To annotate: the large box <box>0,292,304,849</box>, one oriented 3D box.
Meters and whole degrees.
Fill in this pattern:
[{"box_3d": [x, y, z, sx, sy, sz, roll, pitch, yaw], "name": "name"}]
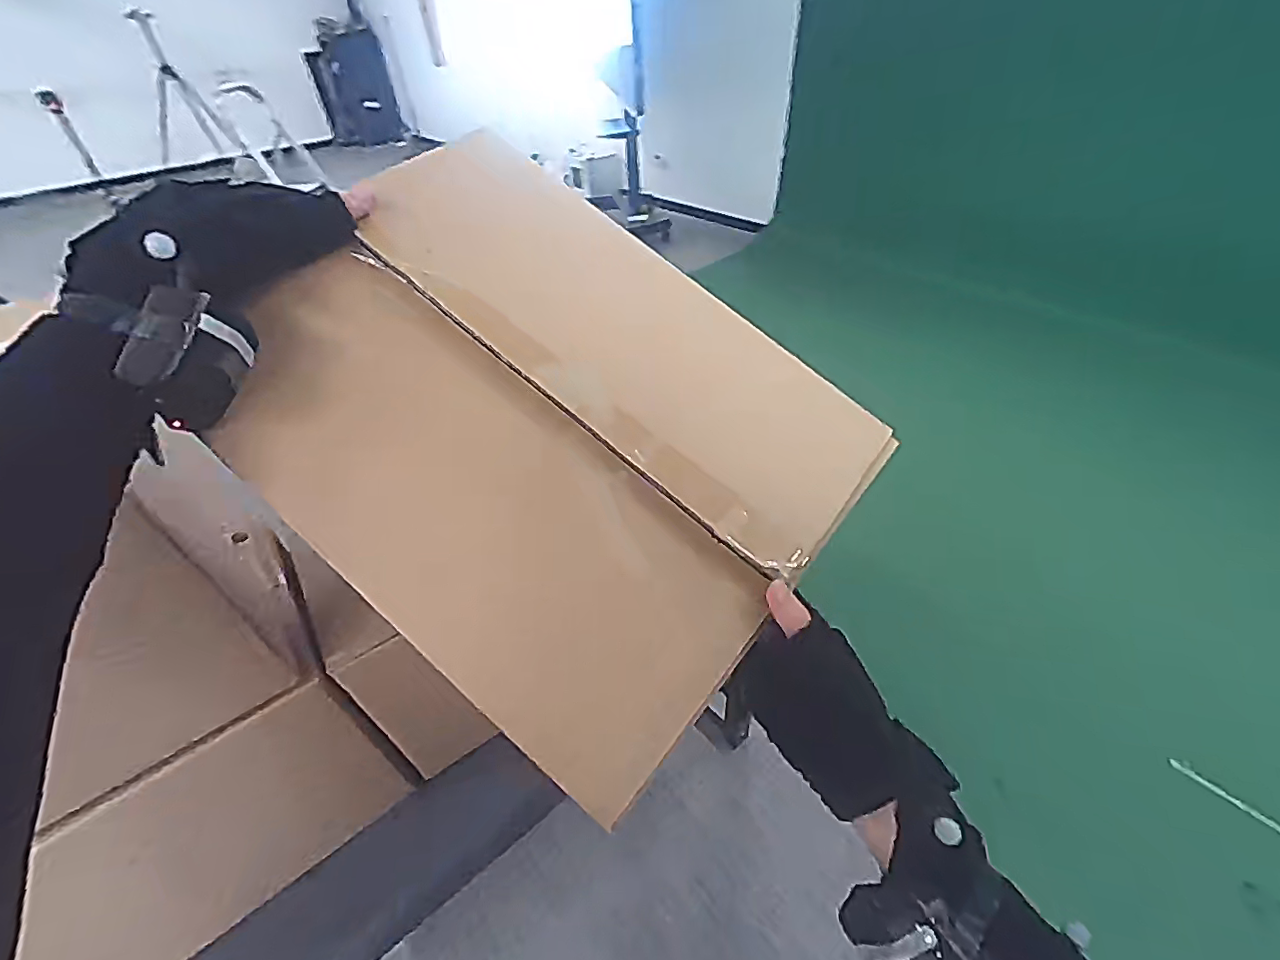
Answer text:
[{"box_3d": [-0.586, 0.096, 0.442, 0.408, 0.320, 0.320, -31, 47, -25], "name": "large box"}]
